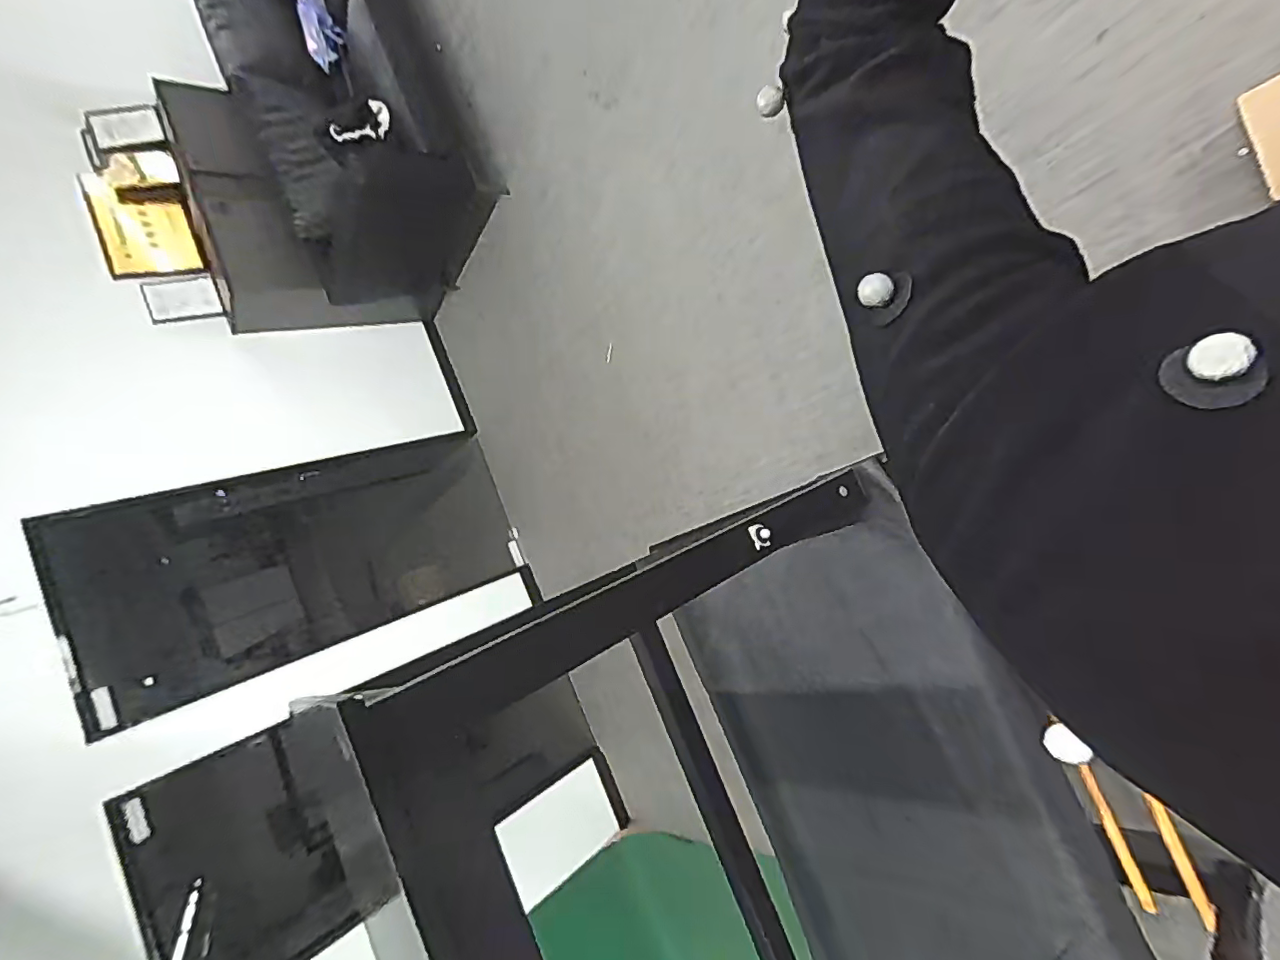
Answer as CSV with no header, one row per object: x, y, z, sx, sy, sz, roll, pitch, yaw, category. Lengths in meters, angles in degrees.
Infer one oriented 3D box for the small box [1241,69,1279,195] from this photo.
1.059,-0.557,0.820,0.168,0.176,0.179,-21,88,52,small box
